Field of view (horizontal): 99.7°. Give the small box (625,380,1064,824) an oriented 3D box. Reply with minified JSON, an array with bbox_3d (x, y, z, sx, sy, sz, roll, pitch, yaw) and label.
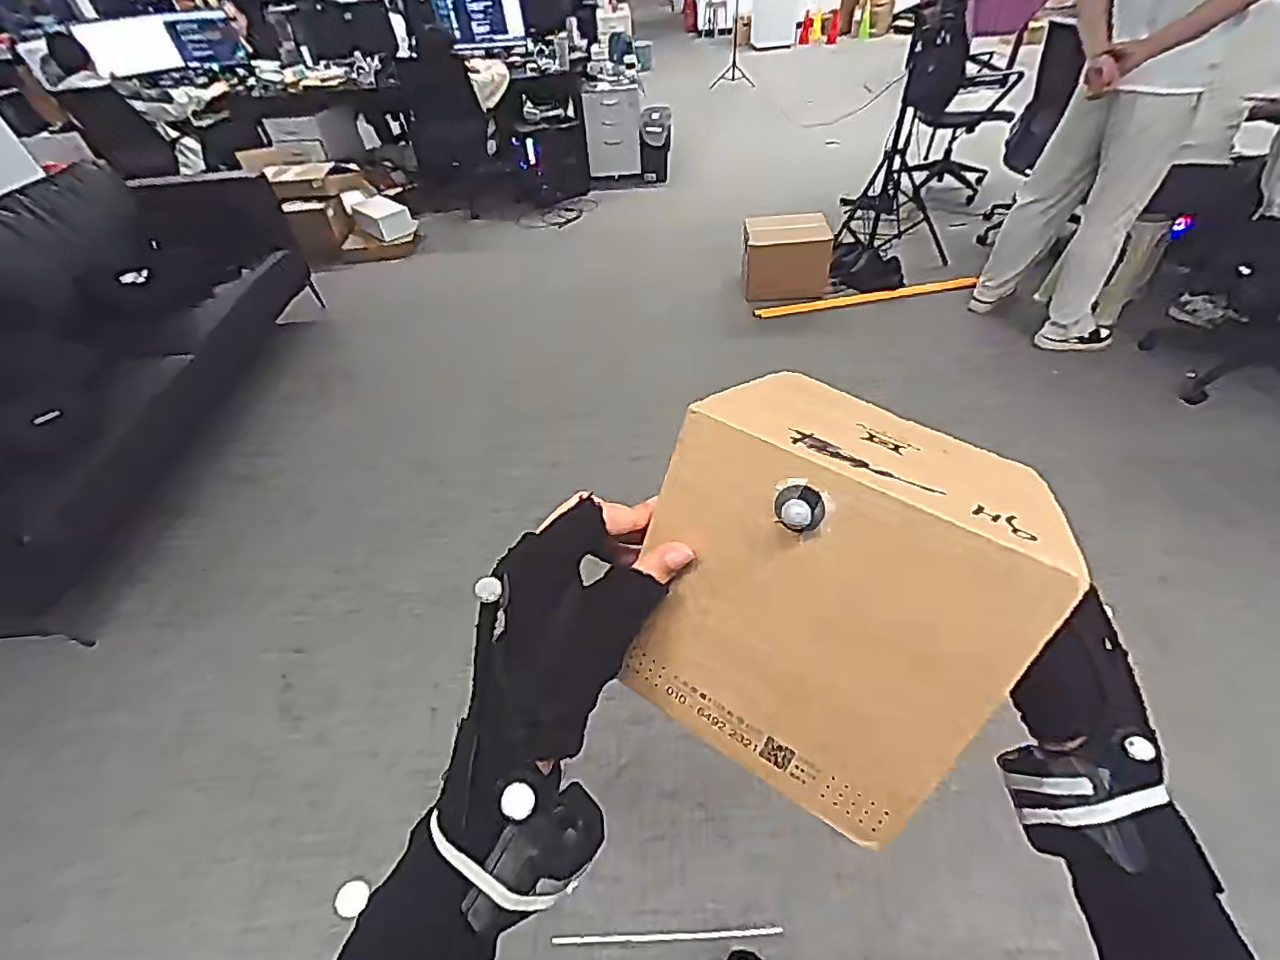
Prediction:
[{"bbox_3d":[0.111,0.052,0.333,0.168,0.176,0.179,26,25,22],"label":"small box"}]
